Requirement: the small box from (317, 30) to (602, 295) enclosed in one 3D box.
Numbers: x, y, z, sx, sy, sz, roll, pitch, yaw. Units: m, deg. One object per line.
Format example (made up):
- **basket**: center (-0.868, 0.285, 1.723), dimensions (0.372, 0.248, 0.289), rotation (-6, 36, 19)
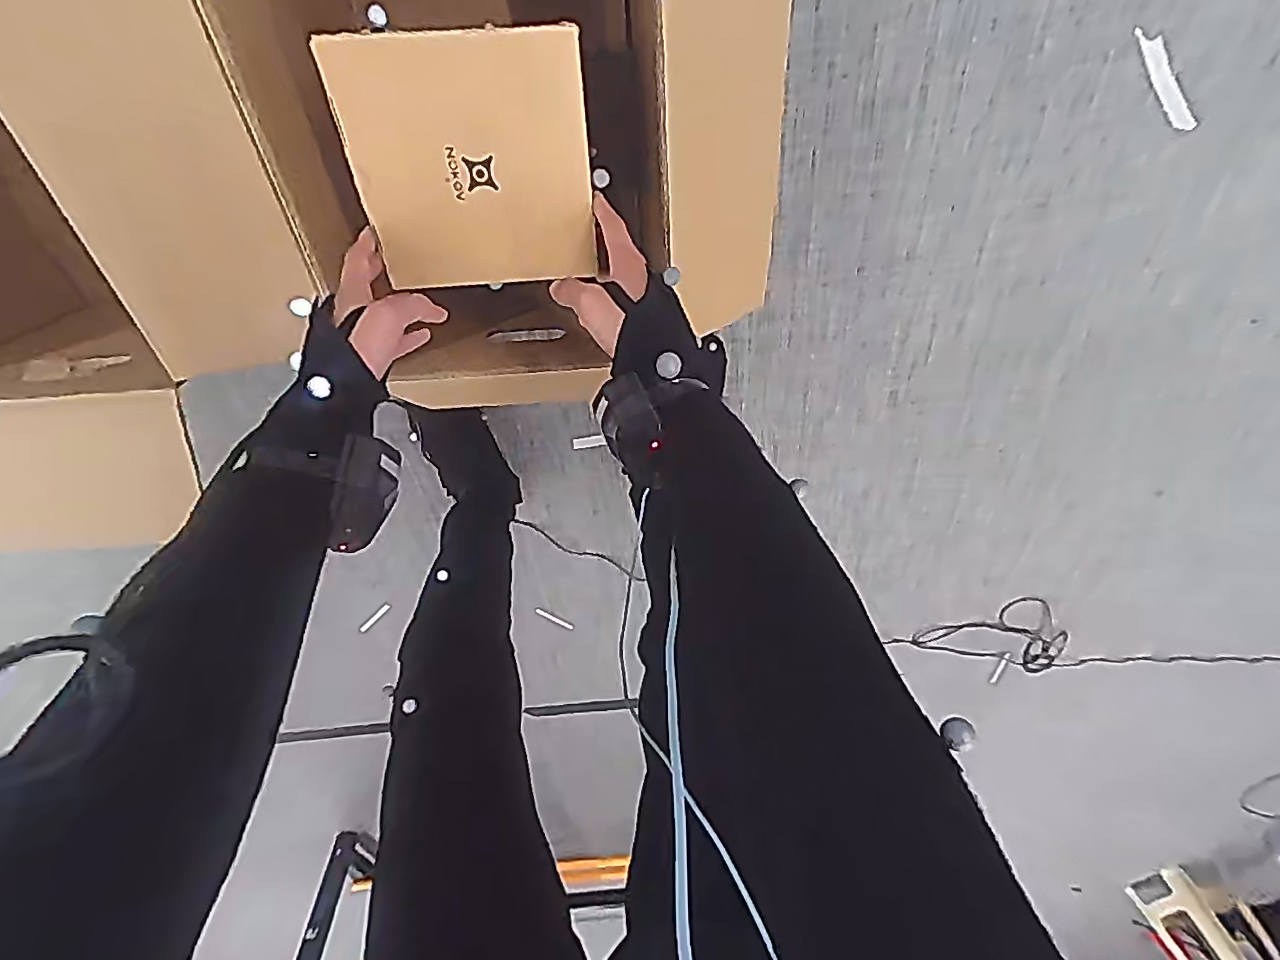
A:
- **small box**: center (-0.128, -0.275, 0.464), dimensions (0.179, 0.176, 0.168), rotation (-4, 130, -1)
